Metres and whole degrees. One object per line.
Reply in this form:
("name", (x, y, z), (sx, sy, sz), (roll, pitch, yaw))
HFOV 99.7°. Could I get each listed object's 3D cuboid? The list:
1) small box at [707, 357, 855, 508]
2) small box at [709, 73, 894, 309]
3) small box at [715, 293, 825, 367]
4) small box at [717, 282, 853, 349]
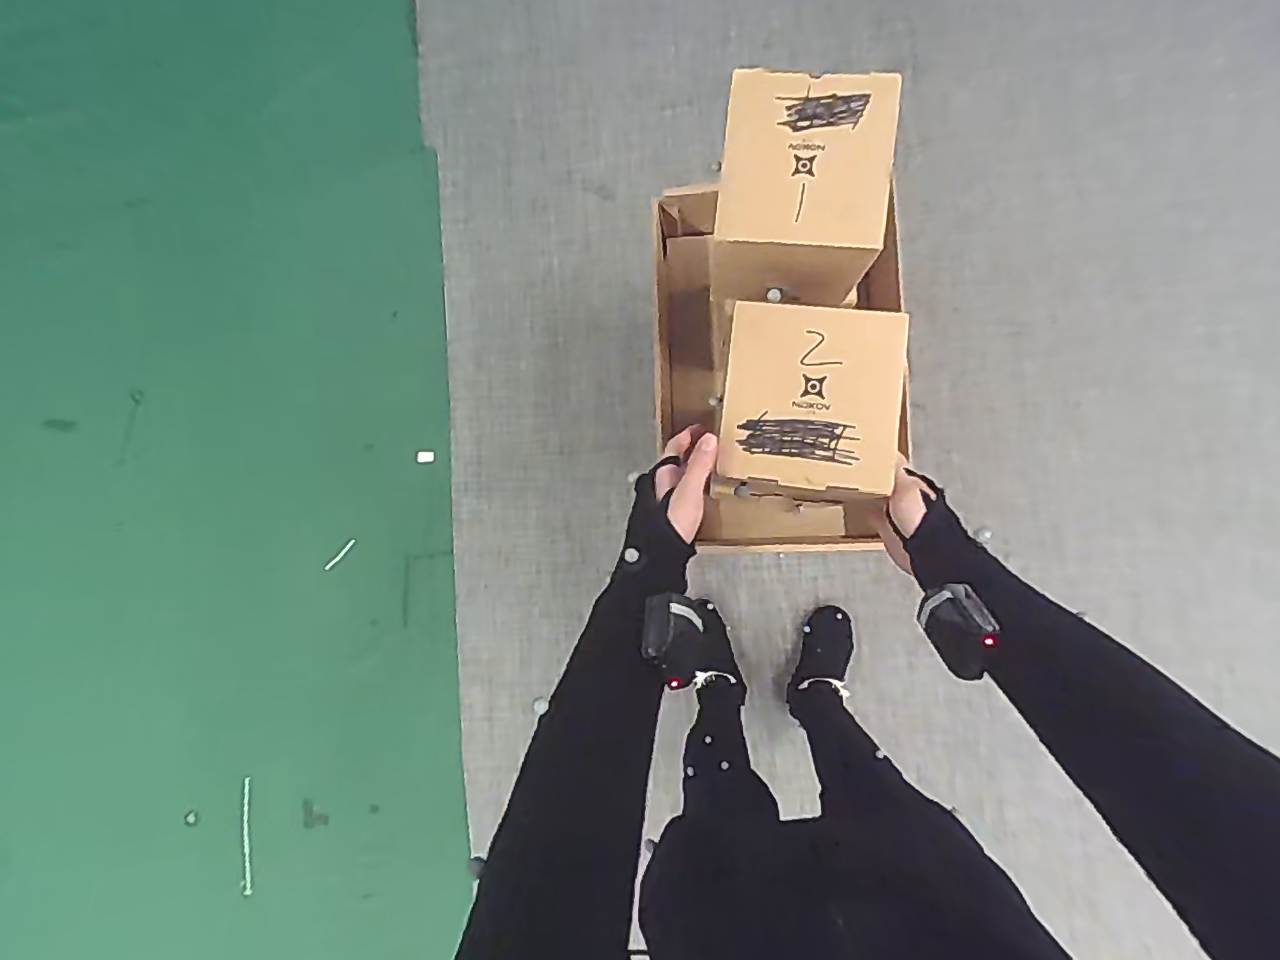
("small box", (0.188, -0.057, 0.758), (0.168, 0.176, 0.179), (7, 86, 7))
("small box", (0.169, -0.316, 0.618), (0.168, 0.176, 0.179), (7, 89, 8))
("small box", (0.217, -0.296, 0.940), (0.168, 0.176, 0.179), (-3, 87, 8))
("small box", (0.196, -0.303, 0.779), (0.168, 0.176, 0.179), (-3, 87, 7))
